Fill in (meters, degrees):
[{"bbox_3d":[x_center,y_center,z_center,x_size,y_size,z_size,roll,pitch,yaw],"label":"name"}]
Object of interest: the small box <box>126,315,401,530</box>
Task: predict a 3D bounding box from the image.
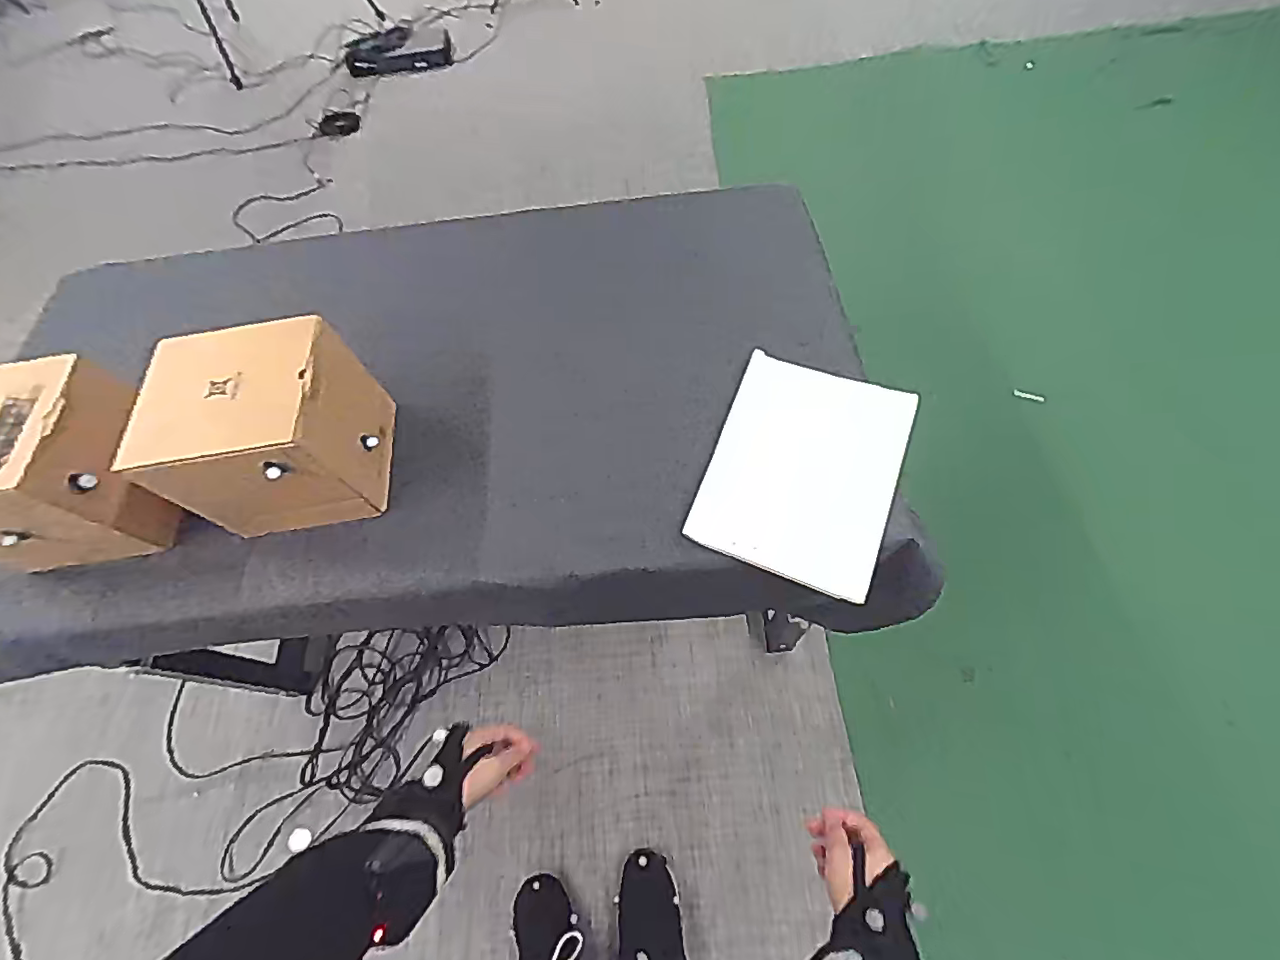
[{"bbox_3d":[-0.402,-0.056,0.614,0.179,0.176,0.168,-9,62,0],"label":"small box"}]
